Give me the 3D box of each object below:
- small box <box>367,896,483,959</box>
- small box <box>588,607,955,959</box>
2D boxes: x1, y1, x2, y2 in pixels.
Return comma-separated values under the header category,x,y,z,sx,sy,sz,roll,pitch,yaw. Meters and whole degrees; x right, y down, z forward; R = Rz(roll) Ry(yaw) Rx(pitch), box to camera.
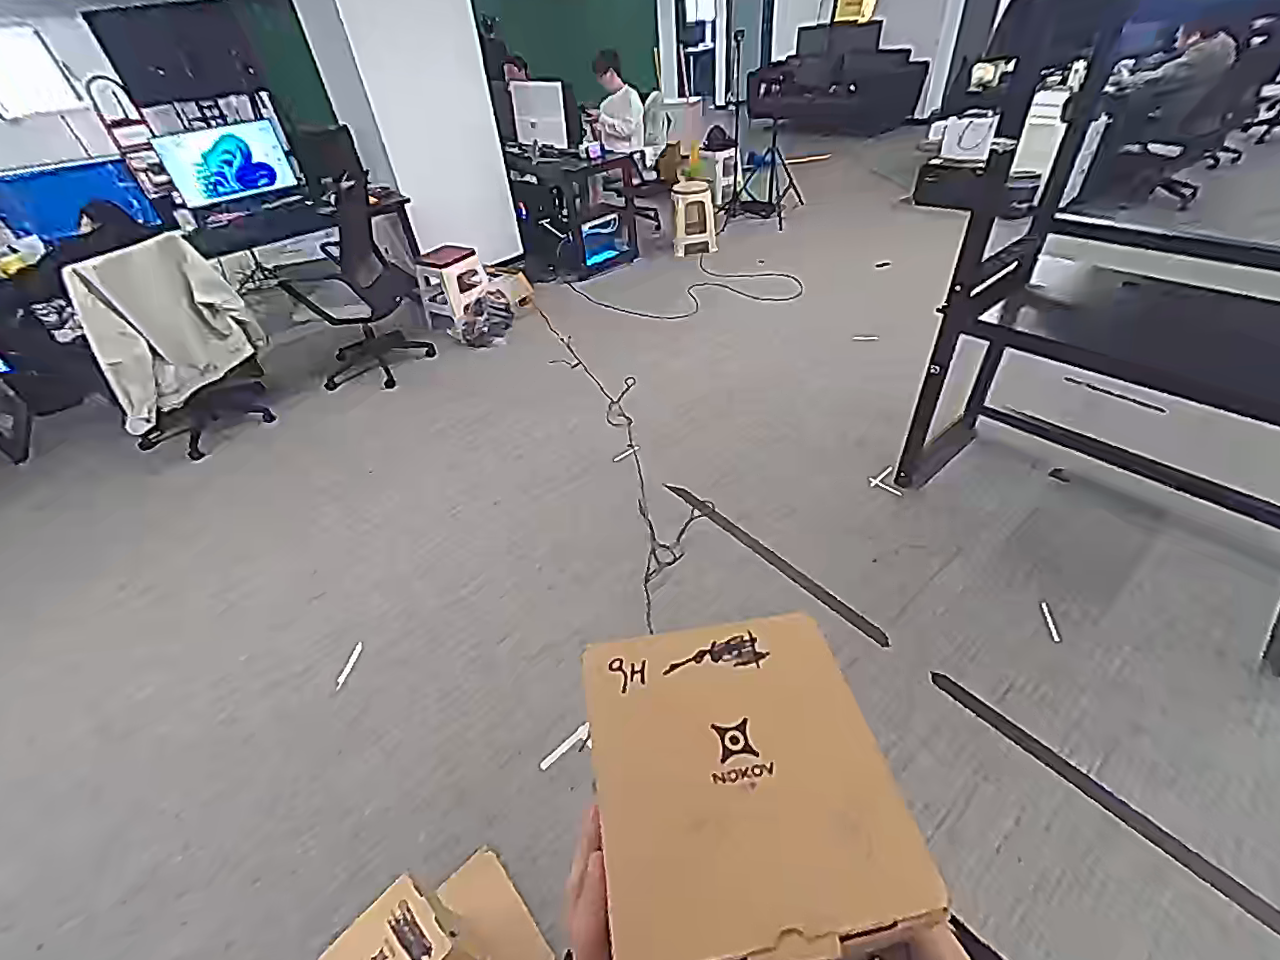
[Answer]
category,x,y,z,sx,sy,sz,roll,pitch,yaw
small box,-0.423,0.991,1.078,0.168,0.176,0.179,31,53,34
small box,0.058,0.214,0.361,0.168,0.176,0.179,-6,42,-7
